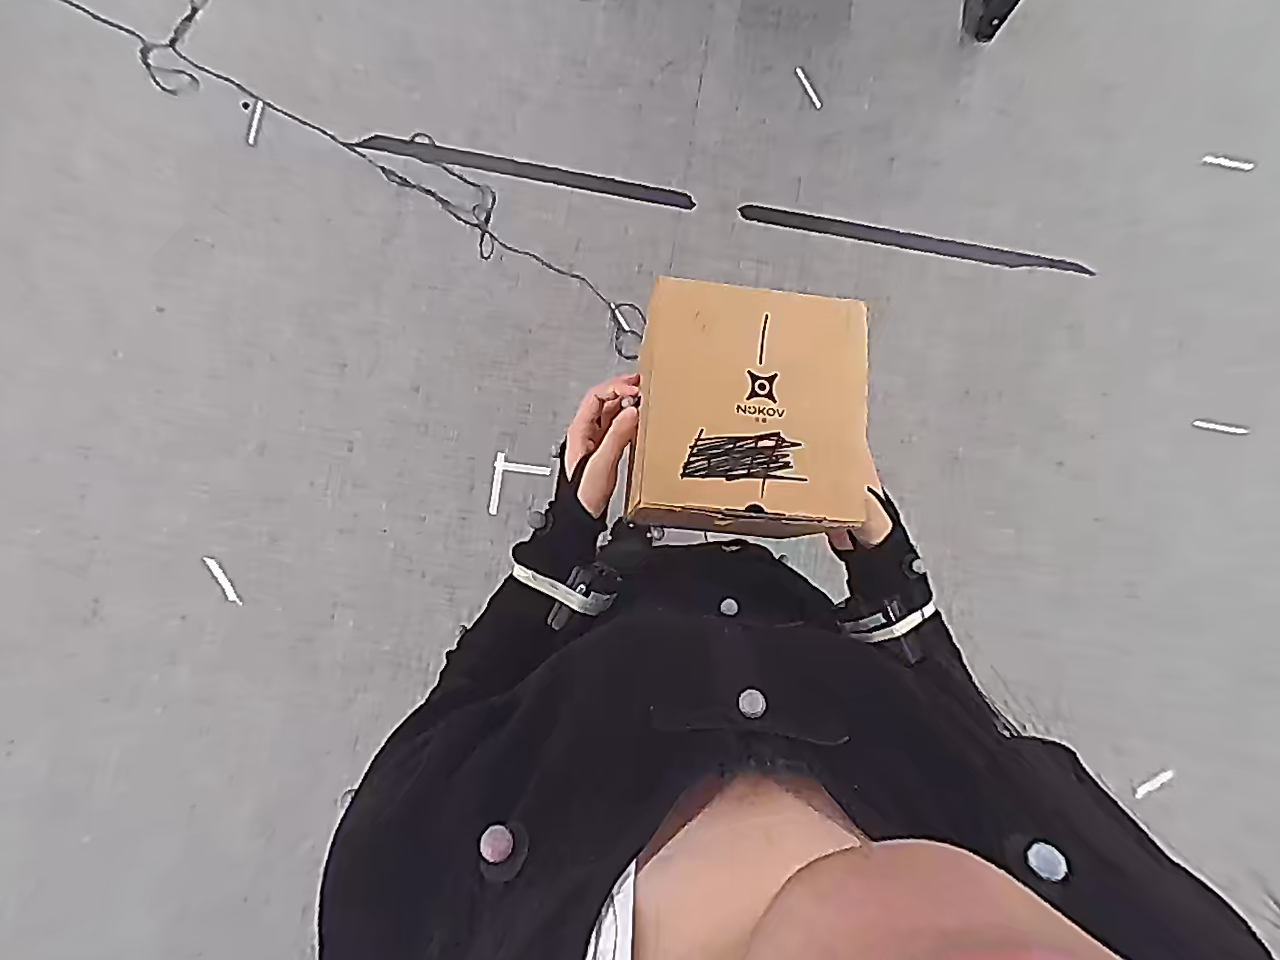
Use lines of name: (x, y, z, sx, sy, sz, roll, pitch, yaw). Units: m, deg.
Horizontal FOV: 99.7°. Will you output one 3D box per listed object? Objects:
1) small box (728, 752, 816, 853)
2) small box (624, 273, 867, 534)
small box: (0.332, 0.815, 1.384, 0.179, 0.176, 0.168, -2, 85, -2)
small box: (0.078, -0.049, 0.472, 0.168, 0.176, 0.179, 6, 79, -5)
